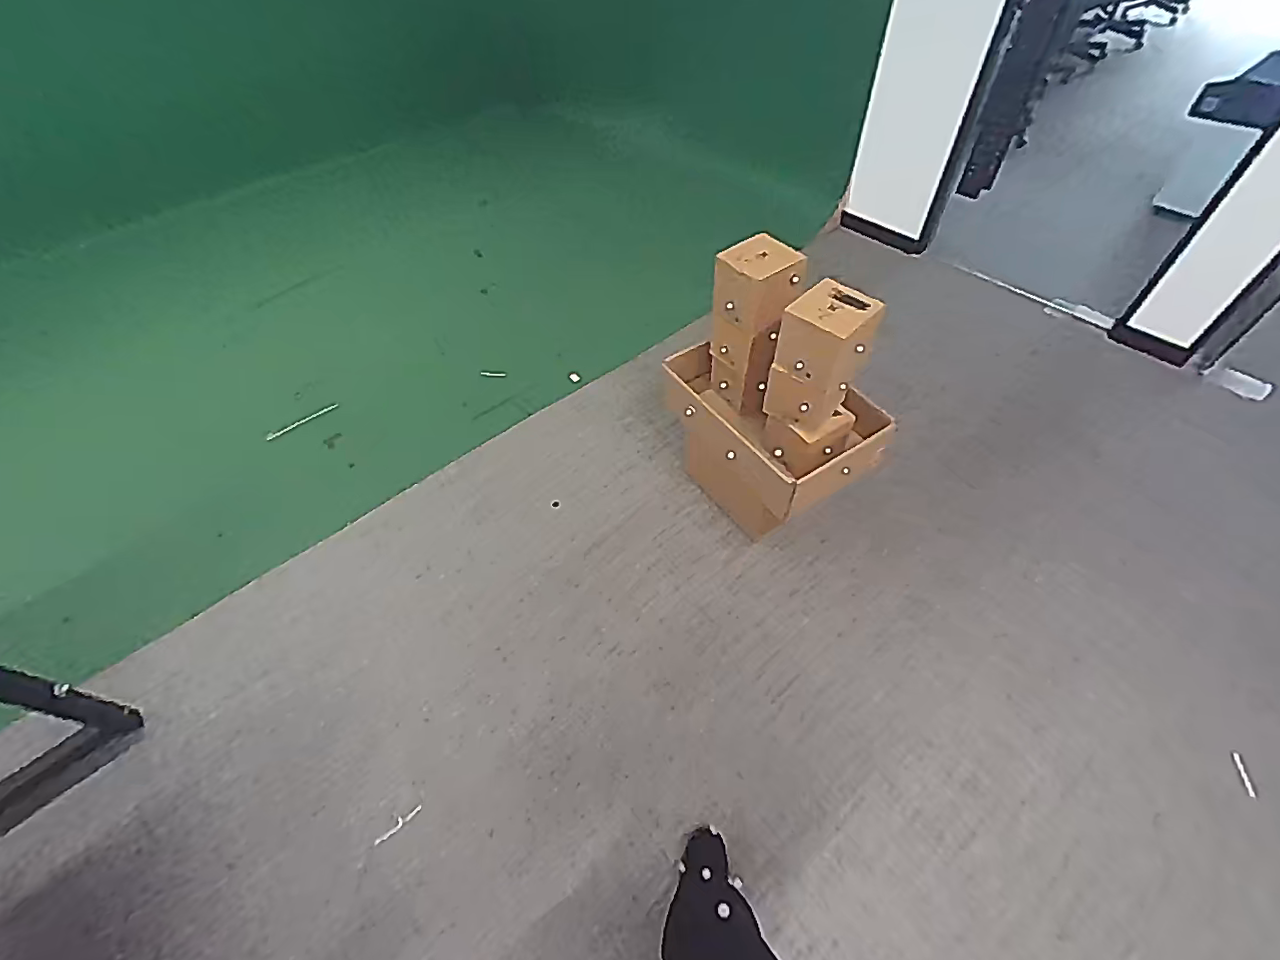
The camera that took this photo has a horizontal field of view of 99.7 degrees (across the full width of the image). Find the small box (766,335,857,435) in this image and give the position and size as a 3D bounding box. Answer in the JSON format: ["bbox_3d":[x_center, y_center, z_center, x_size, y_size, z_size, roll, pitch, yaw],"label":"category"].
[{"bbox_3d":[0.455,-0.254,1.464,0.168,0.176,0.179,32,59,25],"label":"small box"}]

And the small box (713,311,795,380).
[{"bbox_3d":[0.331,-0.433,1.615,0.179,0.176,0.168,-31,56,-19],"label":"small box"}]

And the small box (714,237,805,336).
[{"bbox_3d":[0.318,-0.529,1.482,0.179,0.176,0.168,-31,56,-19],"label":"small box"}]
